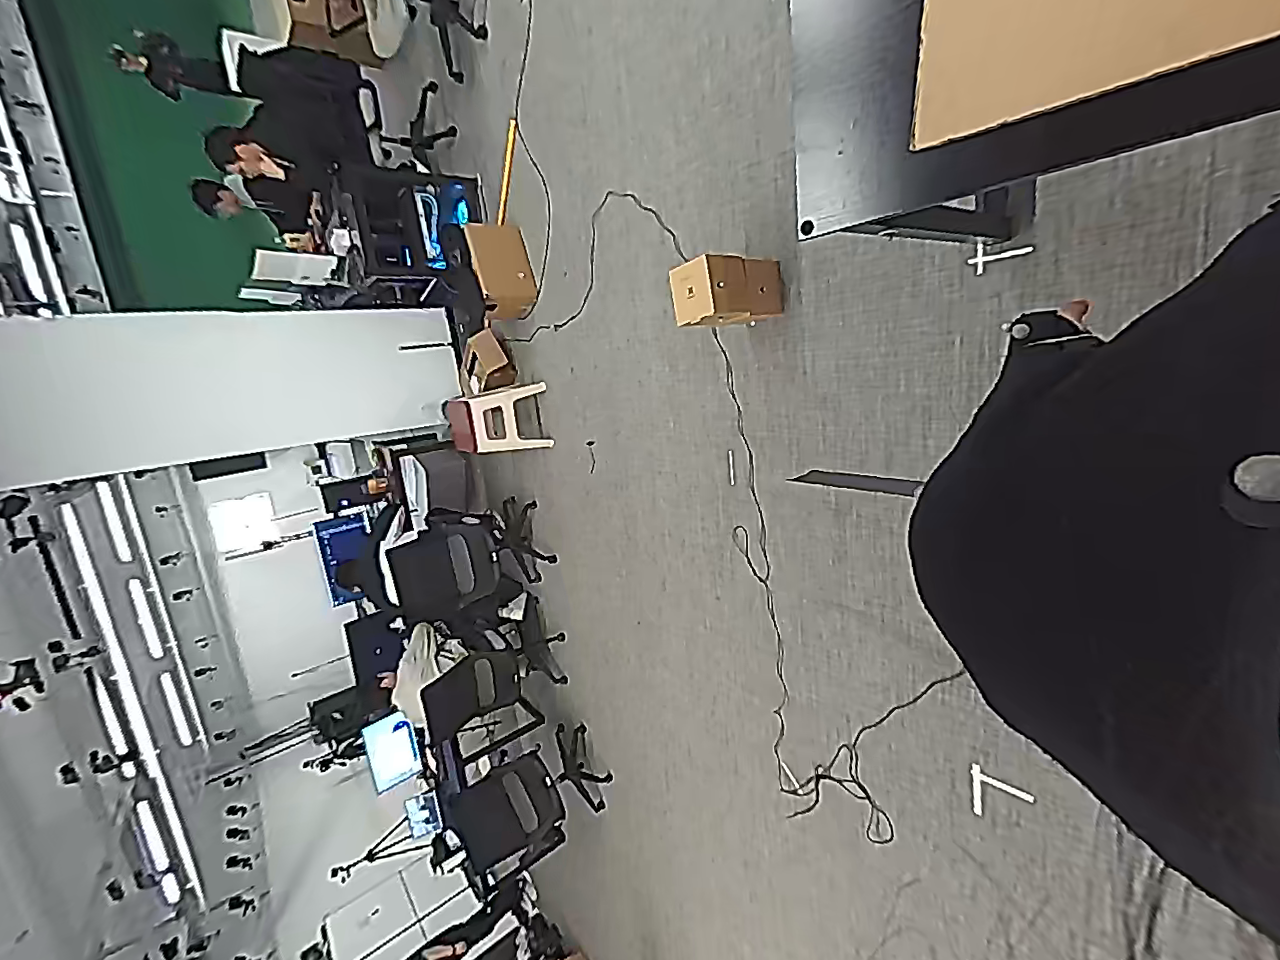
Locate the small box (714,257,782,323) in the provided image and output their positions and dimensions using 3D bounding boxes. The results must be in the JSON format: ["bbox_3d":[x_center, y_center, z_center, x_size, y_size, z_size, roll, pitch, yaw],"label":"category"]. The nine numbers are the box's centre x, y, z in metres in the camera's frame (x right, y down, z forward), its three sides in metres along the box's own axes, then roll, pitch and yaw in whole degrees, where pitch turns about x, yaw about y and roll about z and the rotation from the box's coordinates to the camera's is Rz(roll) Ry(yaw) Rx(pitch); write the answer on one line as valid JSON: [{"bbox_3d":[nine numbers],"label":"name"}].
[{"bbox_3d":[0.348,-0.620,1.779,0.168,0.176,0.179,4,106,53],"label":"small box"}]

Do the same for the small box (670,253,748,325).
[{"bbox_3d":[0.219,-0.591,1.684,0.168,0.176,0.179,-1,100,52],"label":"small box"}]
